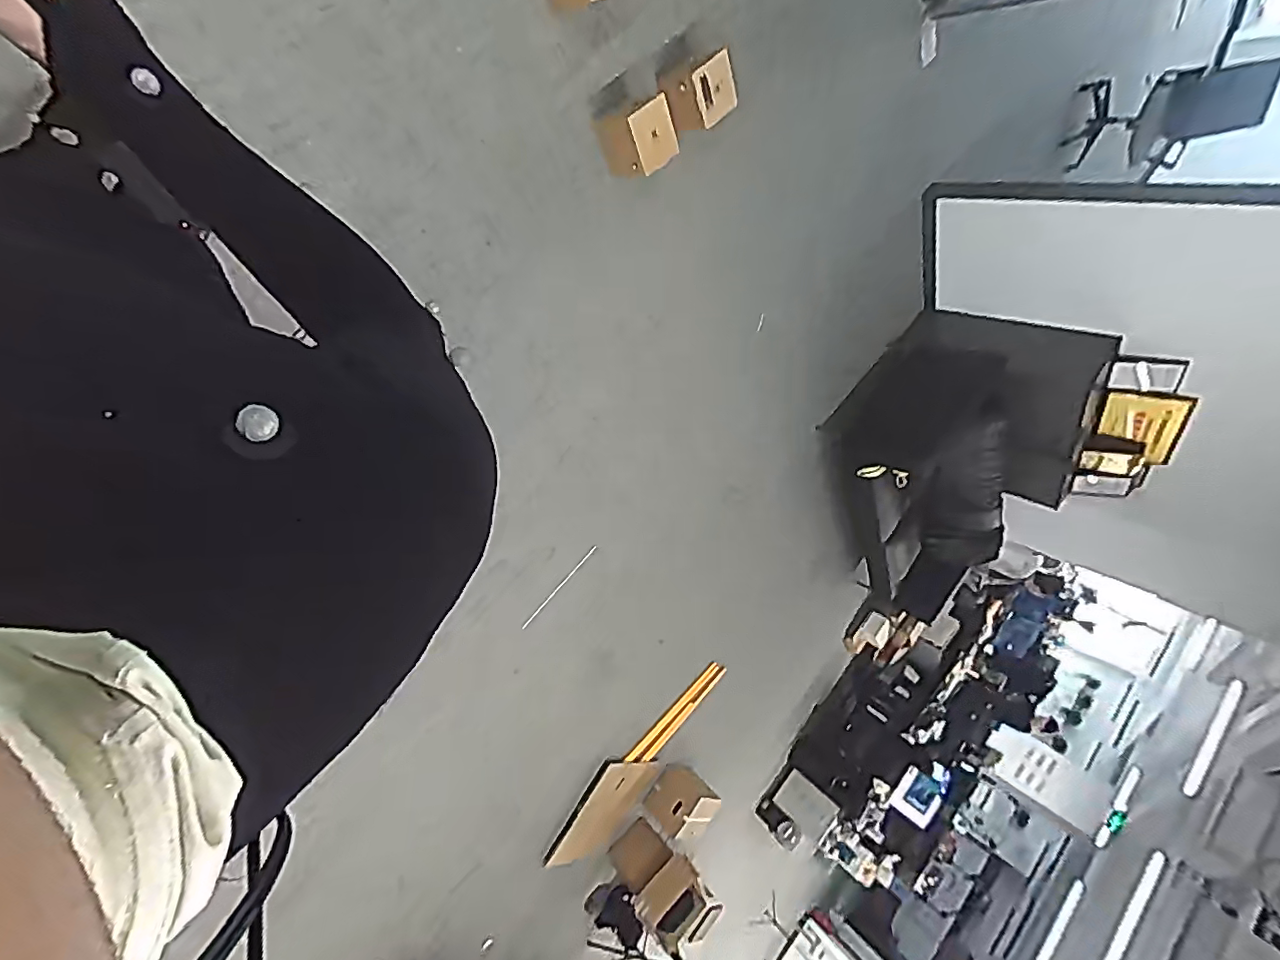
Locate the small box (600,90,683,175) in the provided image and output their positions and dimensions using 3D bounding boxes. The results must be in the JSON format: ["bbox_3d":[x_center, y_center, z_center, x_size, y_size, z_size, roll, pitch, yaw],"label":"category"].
[{"bbox_3d":[0.002,-1.087,1.701,0.168,0.176,0.179,-45,137,-16],"label":"small box"}]

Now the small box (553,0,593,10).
[{"bbox_3d":[-0.142,-1.363,1.398,0.179,0.176,0.168,-46,136,-16],"label":"small box"}]
